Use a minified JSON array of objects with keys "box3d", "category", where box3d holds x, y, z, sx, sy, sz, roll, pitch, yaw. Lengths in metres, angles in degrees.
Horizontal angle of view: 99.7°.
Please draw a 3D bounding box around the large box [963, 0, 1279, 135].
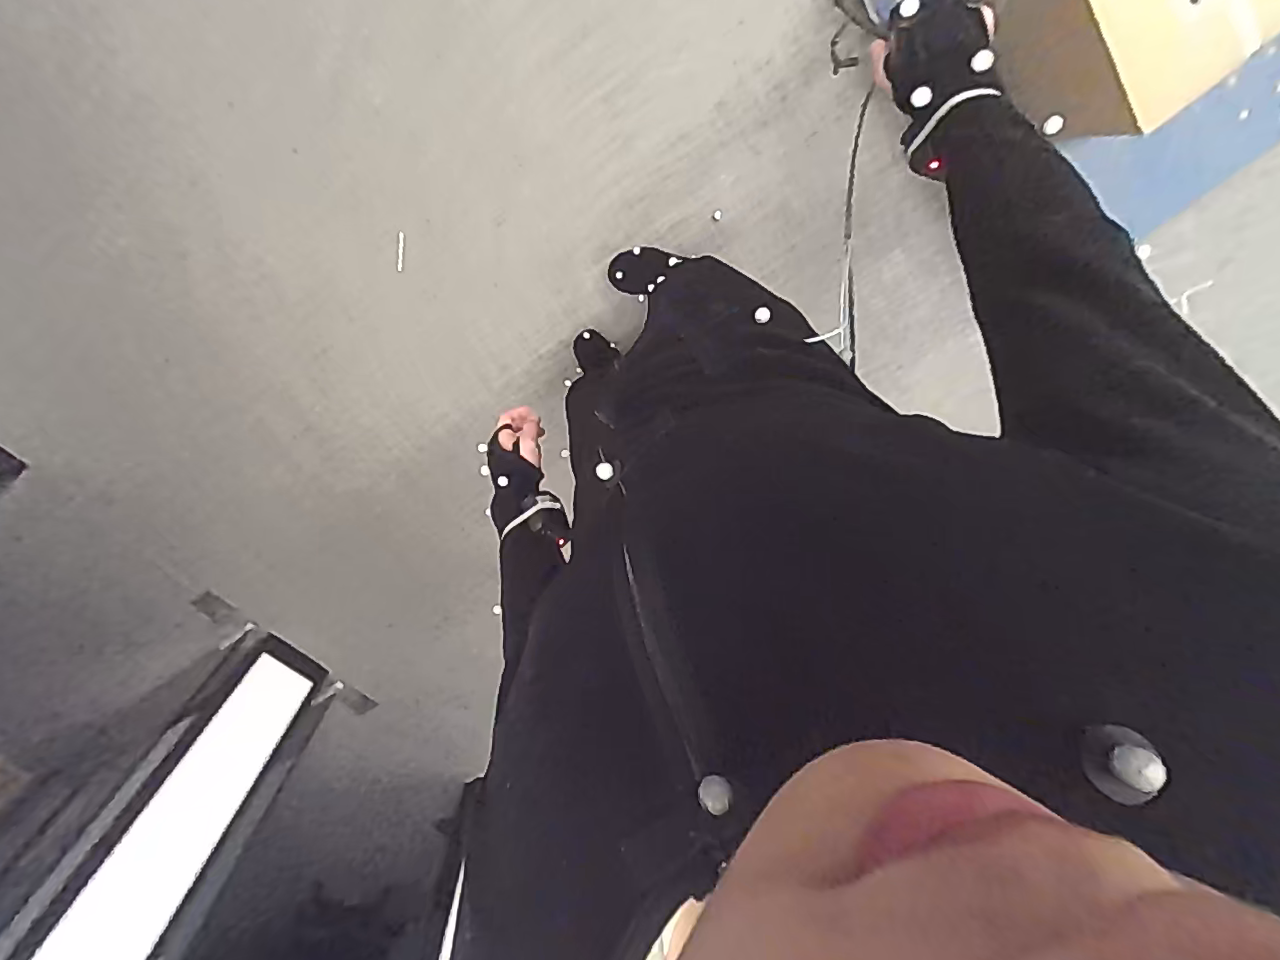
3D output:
[{"box3d":[0.798,-0.855,0.883,0.320,0.320,0.408,-40,114,22],"category":"large box"}]
